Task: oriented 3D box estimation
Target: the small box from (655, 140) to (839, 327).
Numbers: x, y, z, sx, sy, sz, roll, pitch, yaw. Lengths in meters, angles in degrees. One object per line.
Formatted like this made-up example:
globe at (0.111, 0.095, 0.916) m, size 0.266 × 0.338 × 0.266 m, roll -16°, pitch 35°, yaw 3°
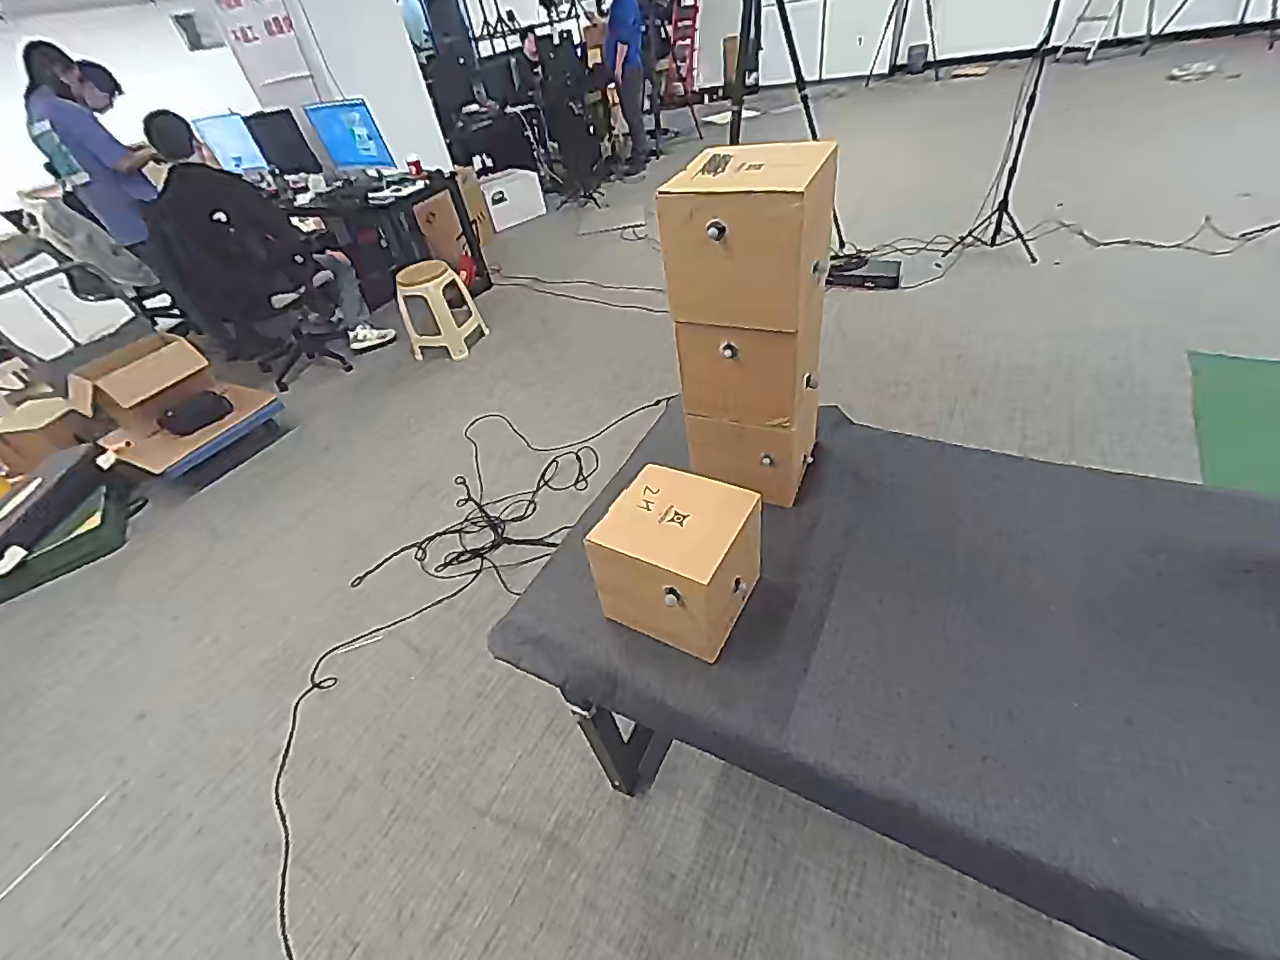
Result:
small box at (0.140, -0.314, 0.695) m, size 0.179 × 0.176 × 0.168 m, roll 14°, pitch 50°, yaw 24°

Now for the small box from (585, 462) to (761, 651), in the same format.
small box at (0.053, 0.106, 0.743) m, size 0.179 × 0.176 × 0.168 m, roll 17°, pitch 47°, yaw 28°

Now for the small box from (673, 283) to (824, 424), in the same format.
small box at (0.167, -0.204, 0.814) m, size 0.179 × 0.176 × 0.168 m, roll 12°, pitch 50°, yaw 23°
